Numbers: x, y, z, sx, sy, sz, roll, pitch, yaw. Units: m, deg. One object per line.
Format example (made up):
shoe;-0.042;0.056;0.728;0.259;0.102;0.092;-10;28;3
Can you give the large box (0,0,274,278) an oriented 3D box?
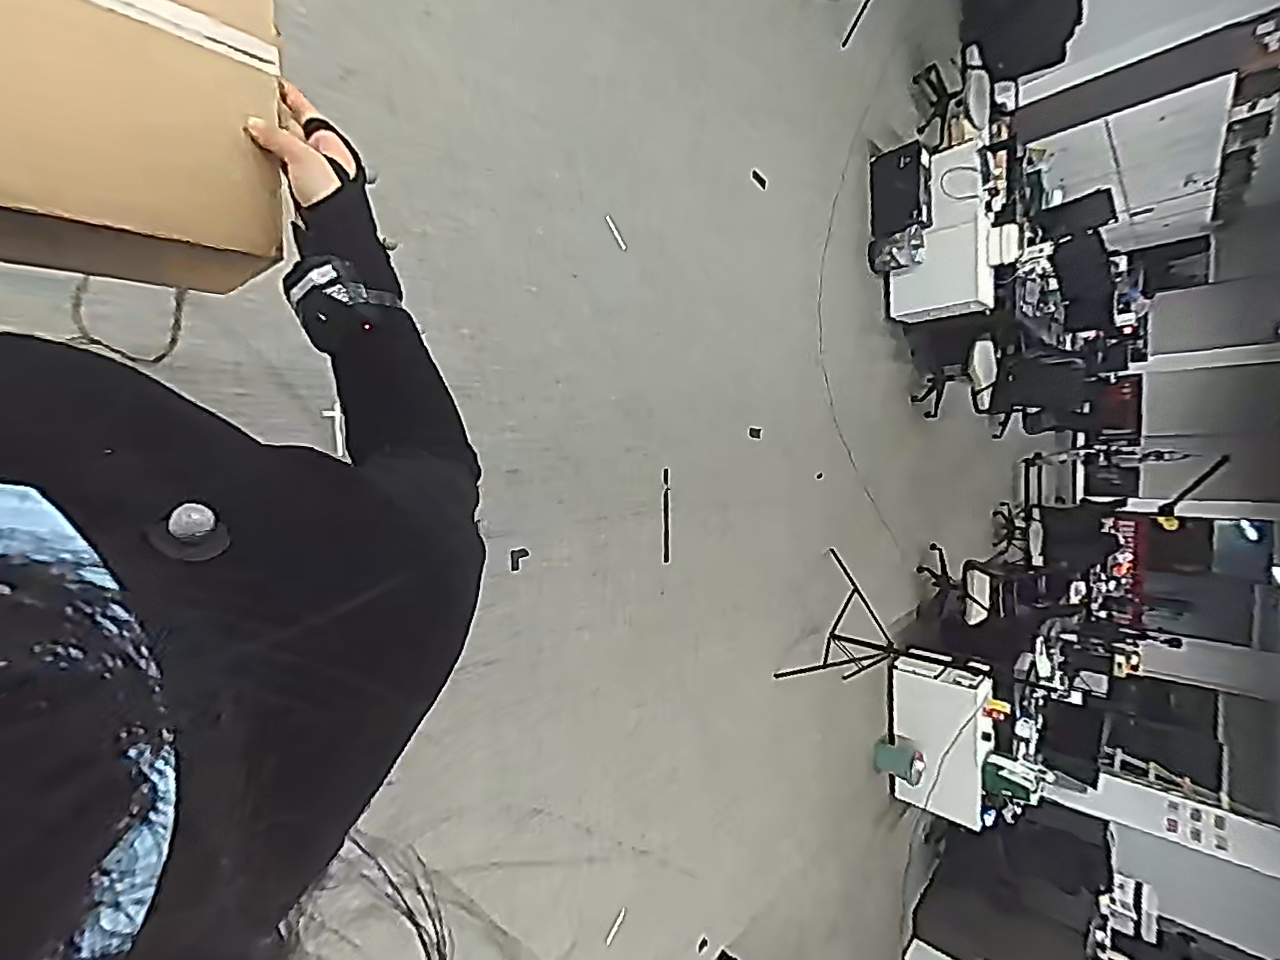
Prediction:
large box;-0.562;-0.364;0.424;0.408;0.320;0.320;-5;101;-45
